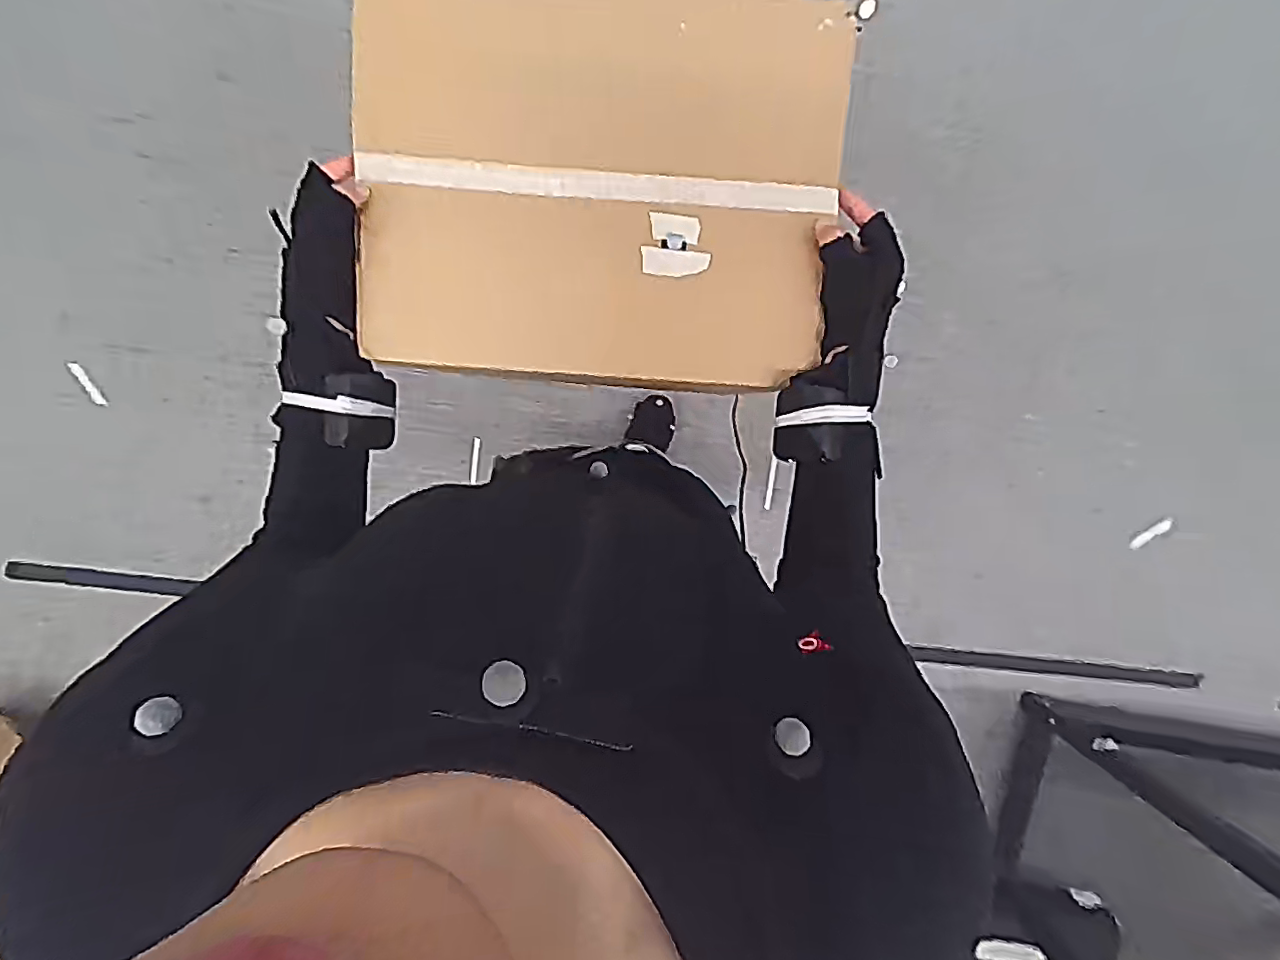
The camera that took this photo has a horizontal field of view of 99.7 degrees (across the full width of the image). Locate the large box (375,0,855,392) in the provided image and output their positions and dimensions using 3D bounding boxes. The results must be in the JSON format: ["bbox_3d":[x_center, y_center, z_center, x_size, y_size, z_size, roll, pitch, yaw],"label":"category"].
[{"bbox_3d":[-0.032,-0.268,0.612,0.408,0.320,0.320,4,100,-3],"label":"large box"}]
